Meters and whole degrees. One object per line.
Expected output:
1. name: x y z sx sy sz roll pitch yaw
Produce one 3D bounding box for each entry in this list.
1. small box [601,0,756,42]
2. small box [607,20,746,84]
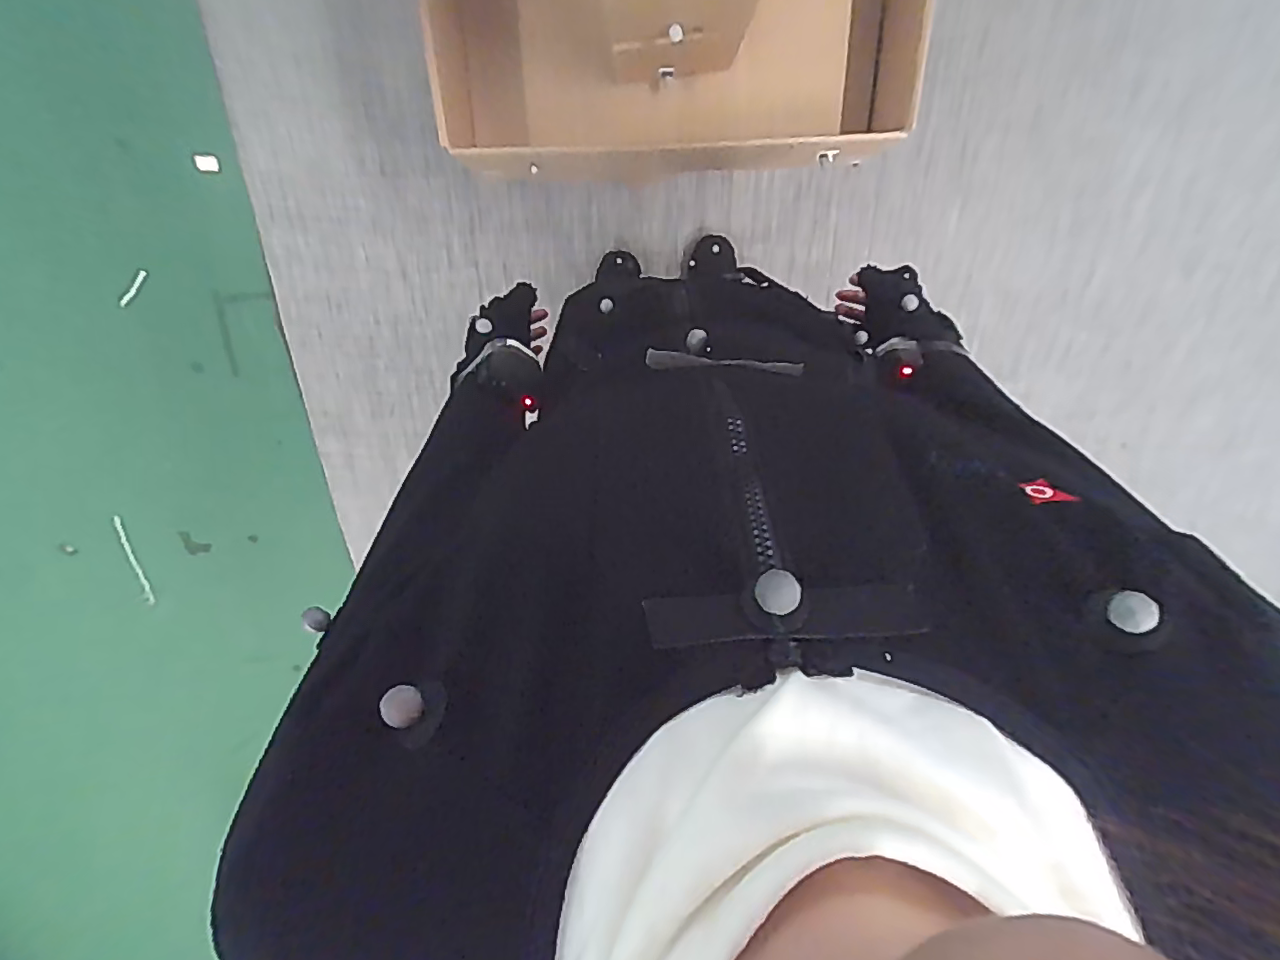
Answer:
1. small box: 0.035 -0.570 0.528 0.168 0.176 0.179 -3 114 4
2. small box: 0.038 -0.633 0.679 0.168 0.176 0.179 -5 114 4
